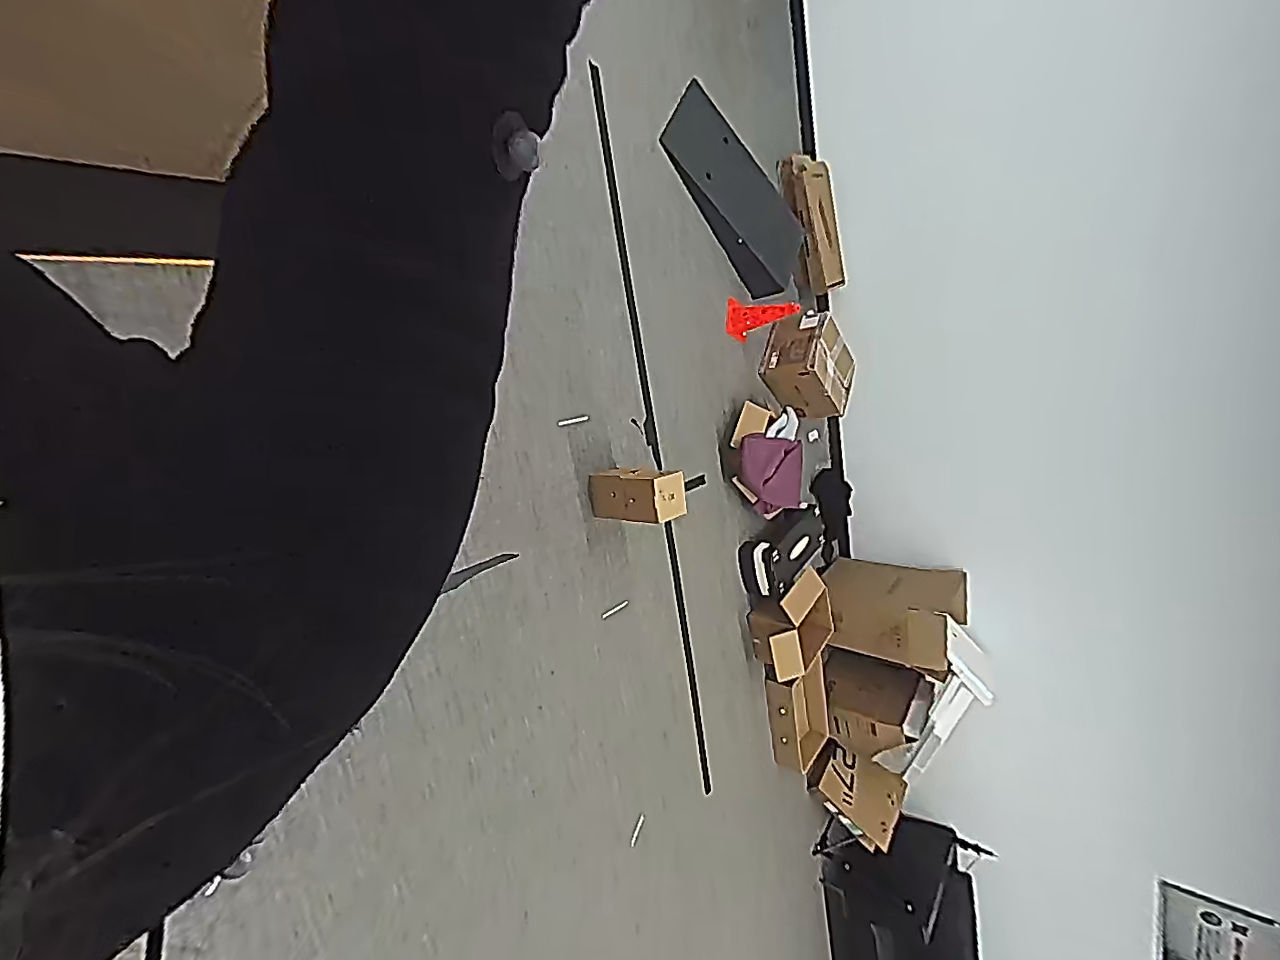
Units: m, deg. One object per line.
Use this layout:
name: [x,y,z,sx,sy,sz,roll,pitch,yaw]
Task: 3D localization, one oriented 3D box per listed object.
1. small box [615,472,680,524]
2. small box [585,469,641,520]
small box: [0.028,0.062,2.029,0.179,0.176,0.168,-16,103,-47]
small box: [-0.101,0.053,2.133,0.168,0.176,0.179,-16,104,-47]
